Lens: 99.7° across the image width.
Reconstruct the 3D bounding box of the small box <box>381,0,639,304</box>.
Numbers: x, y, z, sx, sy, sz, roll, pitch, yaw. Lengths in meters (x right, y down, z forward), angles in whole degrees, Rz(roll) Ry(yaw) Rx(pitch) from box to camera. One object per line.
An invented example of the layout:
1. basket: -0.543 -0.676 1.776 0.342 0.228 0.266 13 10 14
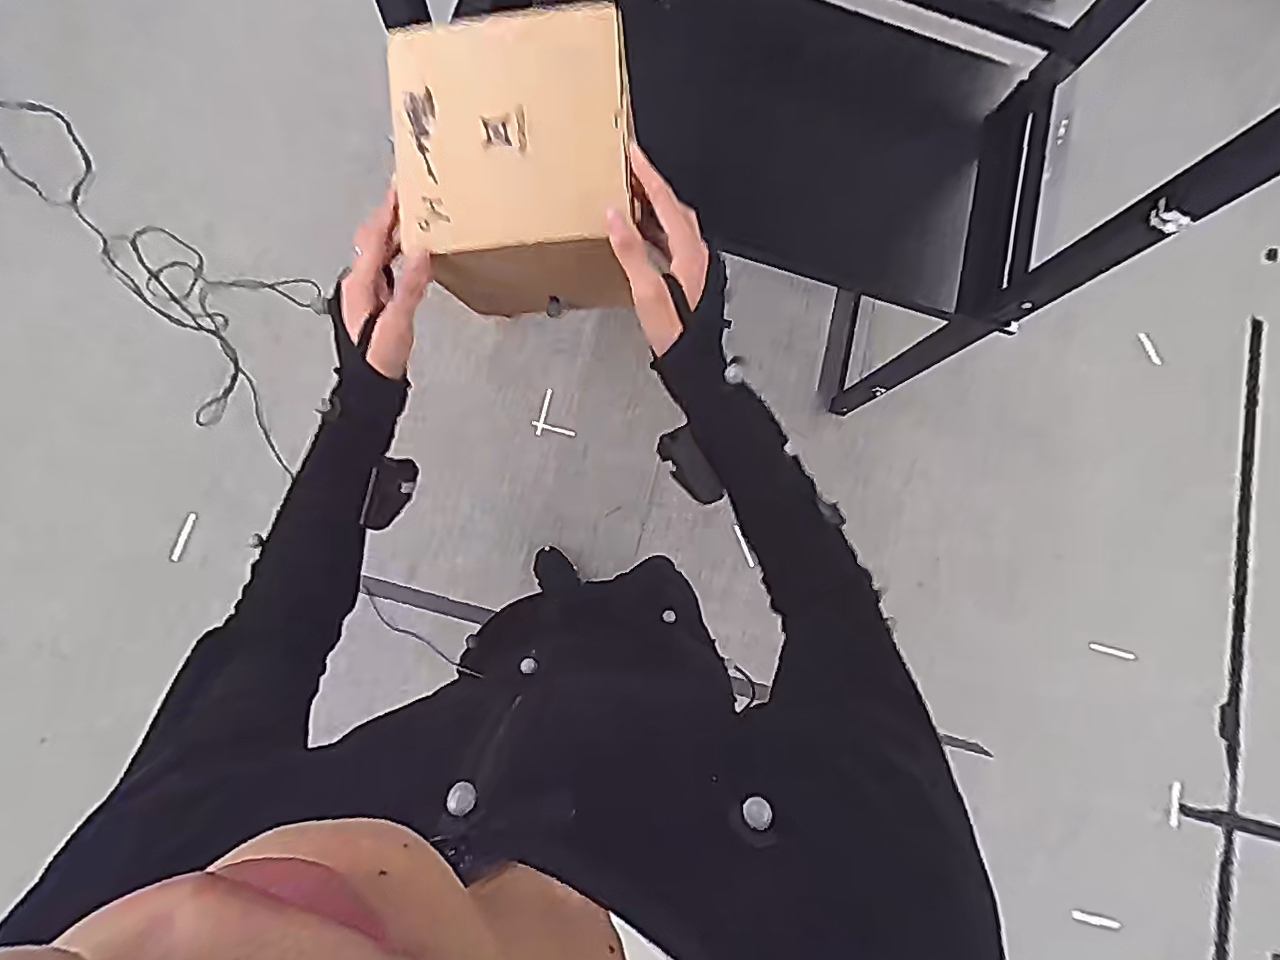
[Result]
1. small box: -0.091 -0.259 0.463 0.179 0.176 0.168 -3 91 3
